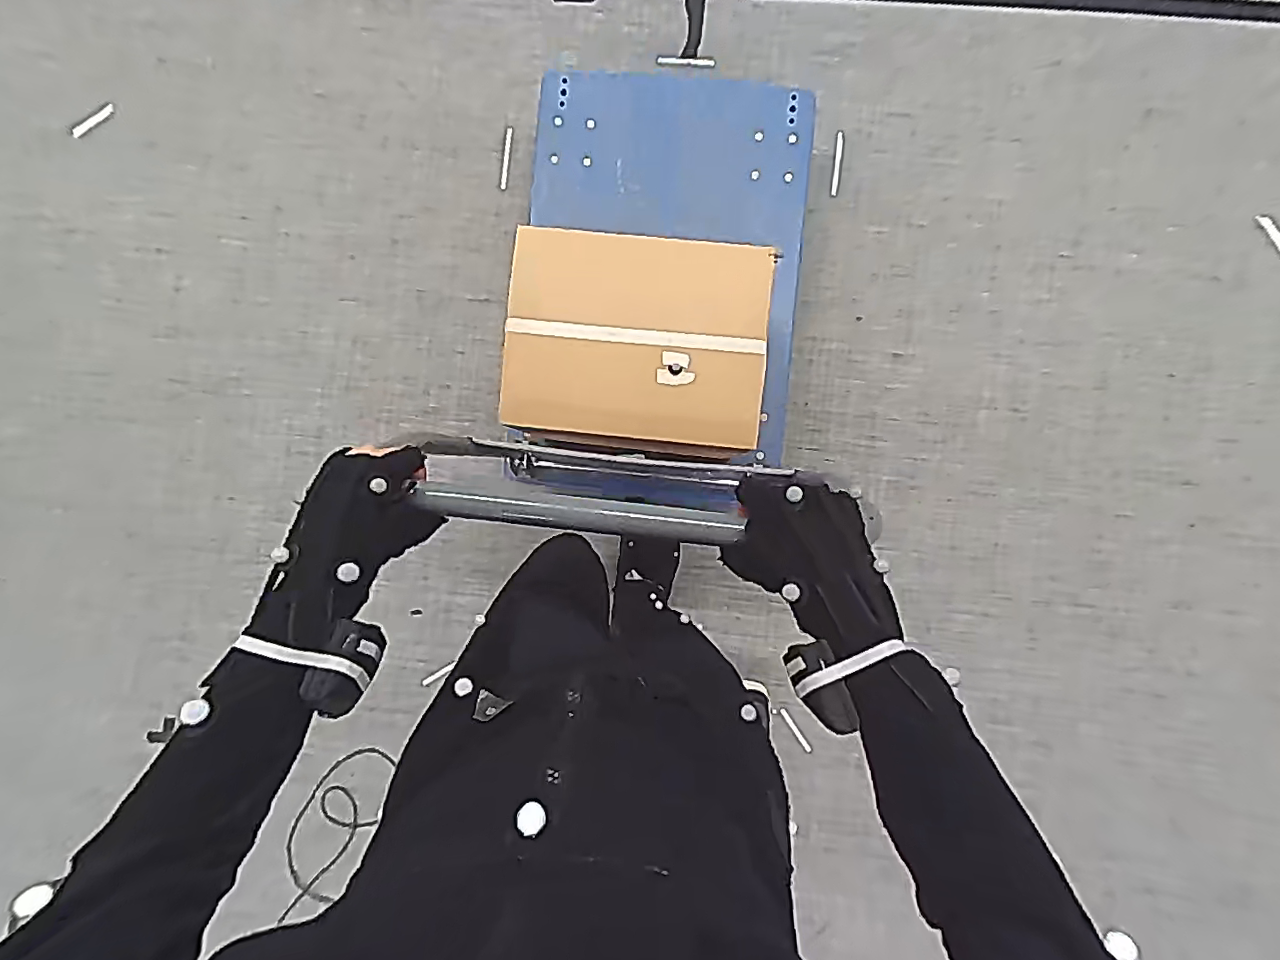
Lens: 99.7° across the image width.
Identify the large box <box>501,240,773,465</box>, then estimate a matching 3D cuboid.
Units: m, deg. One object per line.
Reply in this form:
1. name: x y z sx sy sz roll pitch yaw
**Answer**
1. large box: -0.004 -0.200 0.978 0.408 0.320 0.320 6 90 1
